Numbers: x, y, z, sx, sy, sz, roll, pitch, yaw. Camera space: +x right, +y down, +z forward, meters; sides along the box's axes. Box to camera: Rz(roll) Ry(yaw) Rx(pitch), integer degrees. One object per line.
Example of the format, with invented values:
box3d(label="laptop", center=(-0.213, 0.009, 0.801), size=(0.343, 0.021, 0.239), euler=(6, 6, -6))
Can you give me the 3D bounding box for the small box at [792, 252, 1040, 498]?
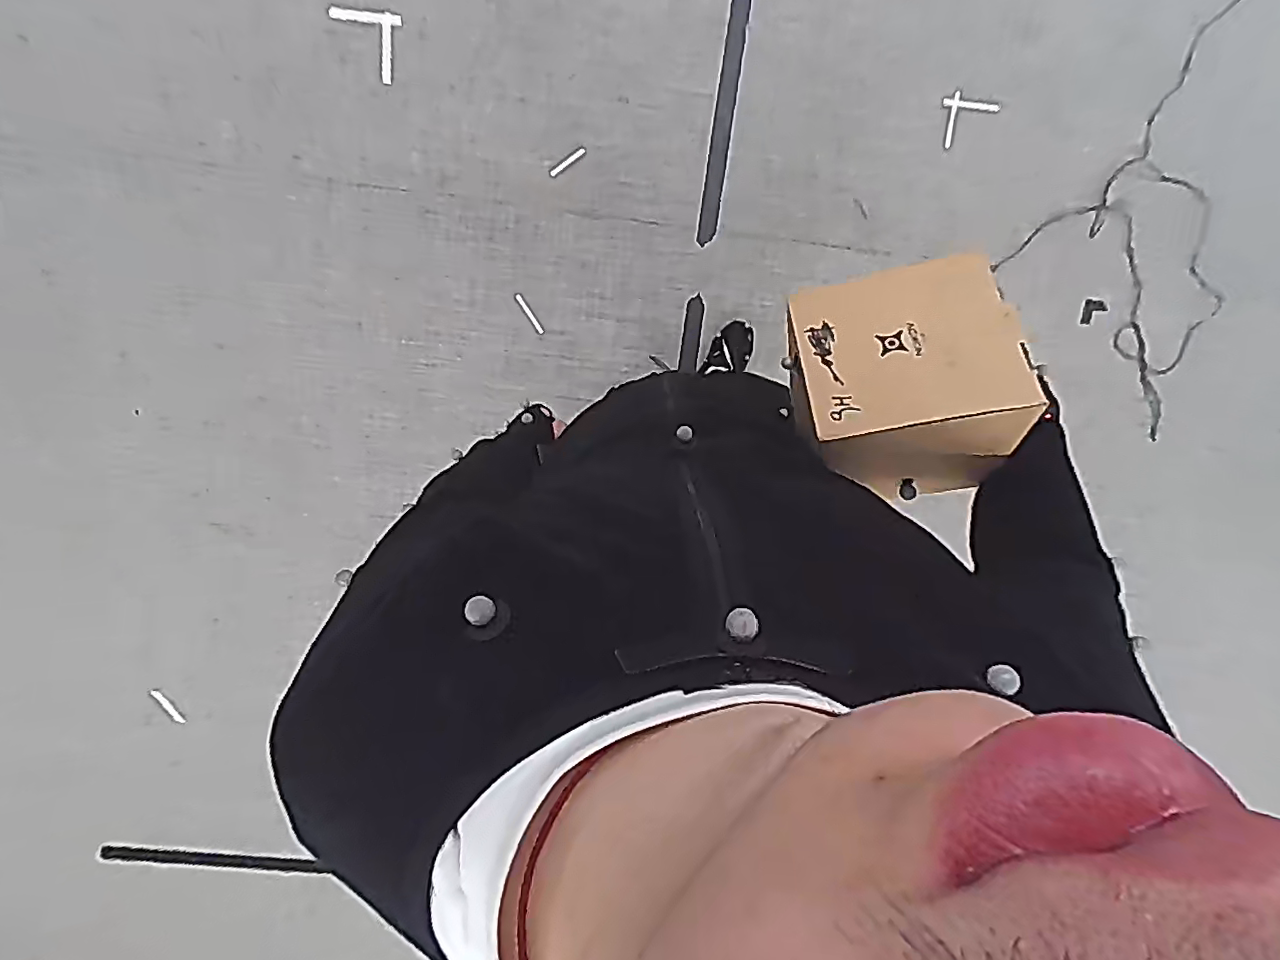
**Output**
box3d(label="small box", center=(0.257, -0.094, 0.556), size=(0.179, 0.176, 0.168), euler=(-9, 64, 13))
